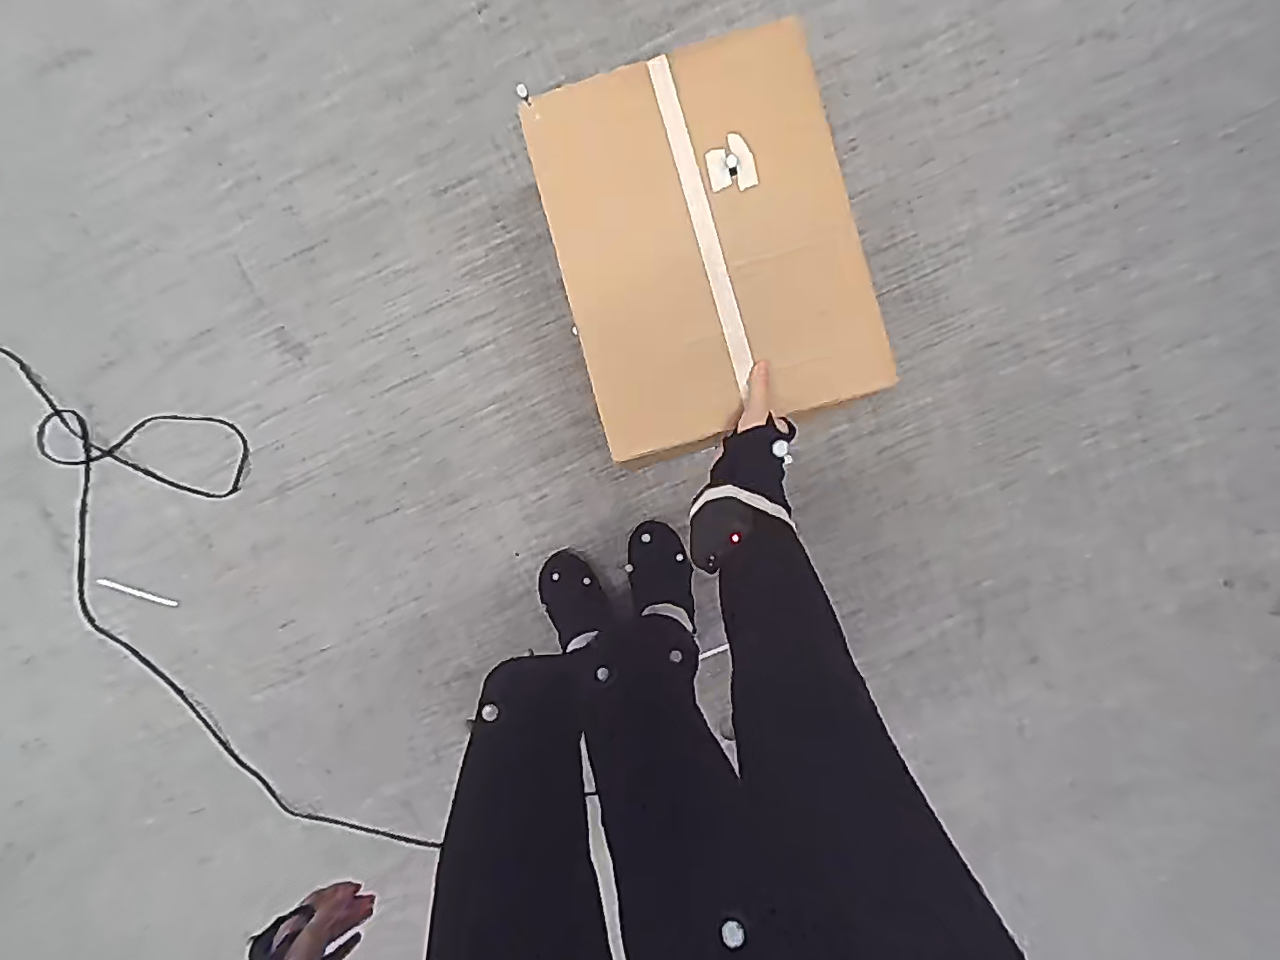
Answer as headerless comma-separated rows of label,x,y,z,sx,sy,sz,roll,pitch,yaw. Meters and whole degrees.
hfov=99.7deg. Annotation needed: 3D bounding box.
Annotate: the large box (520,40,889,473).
large box,0.075,-0.247,0.737,0.320,0.320,0.408,-16,87,2
